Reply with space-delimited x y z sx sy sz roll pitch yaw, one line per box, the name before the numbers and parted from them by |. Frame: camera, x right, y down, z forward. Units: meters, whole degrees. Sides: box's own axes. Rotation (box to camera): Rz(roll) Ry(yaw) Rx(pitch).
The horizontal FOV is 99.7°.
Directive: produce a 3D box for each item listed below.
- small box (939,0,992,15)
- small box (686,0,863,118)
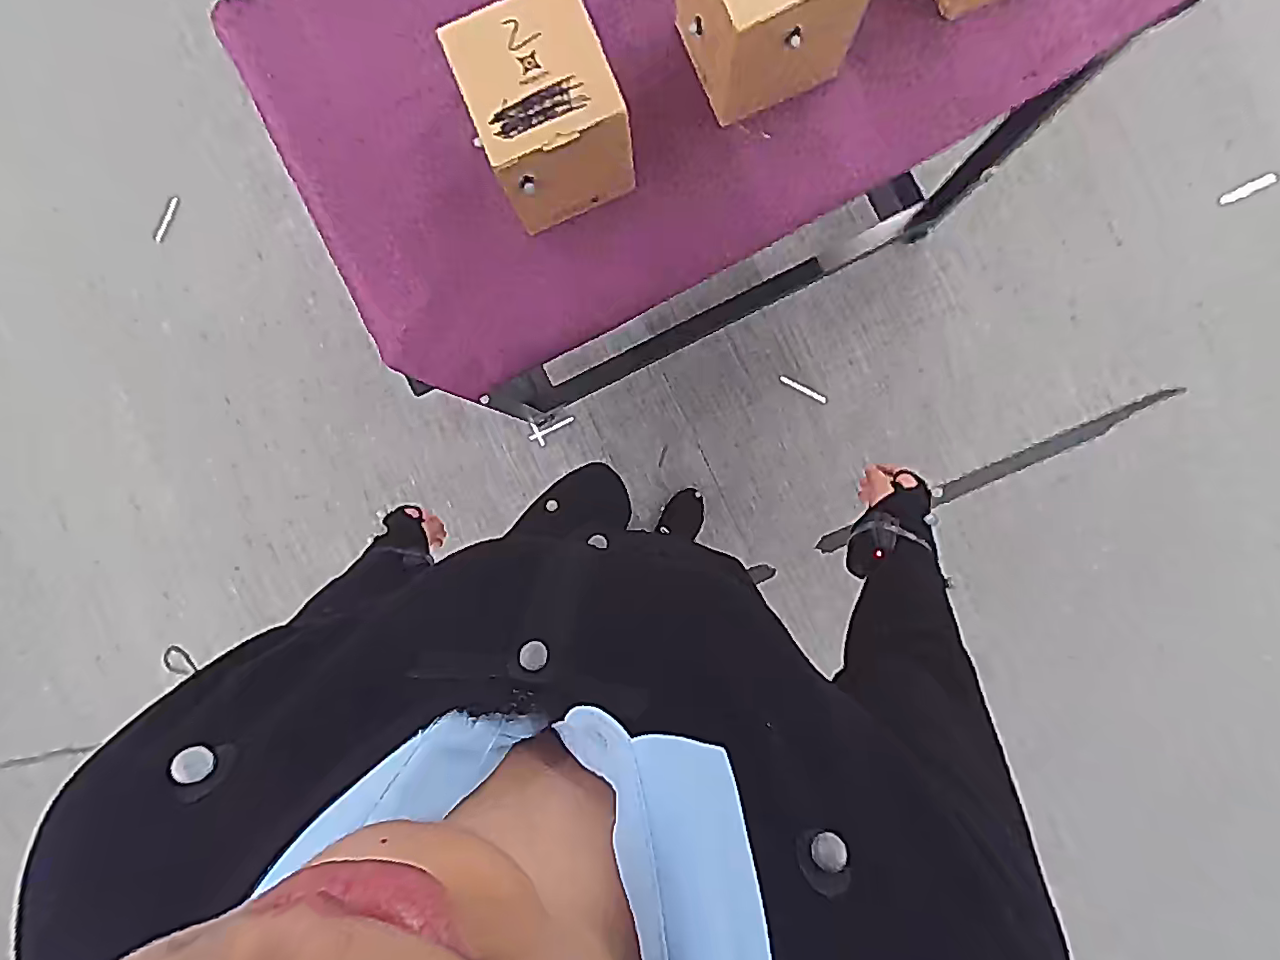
small box | 0.468 -0.736 0.657 0.179 0.176 0.168 -22 88 3
small box | 0.162 -0.599 0.670 0.179 0.176 0.168 -23 90 2
